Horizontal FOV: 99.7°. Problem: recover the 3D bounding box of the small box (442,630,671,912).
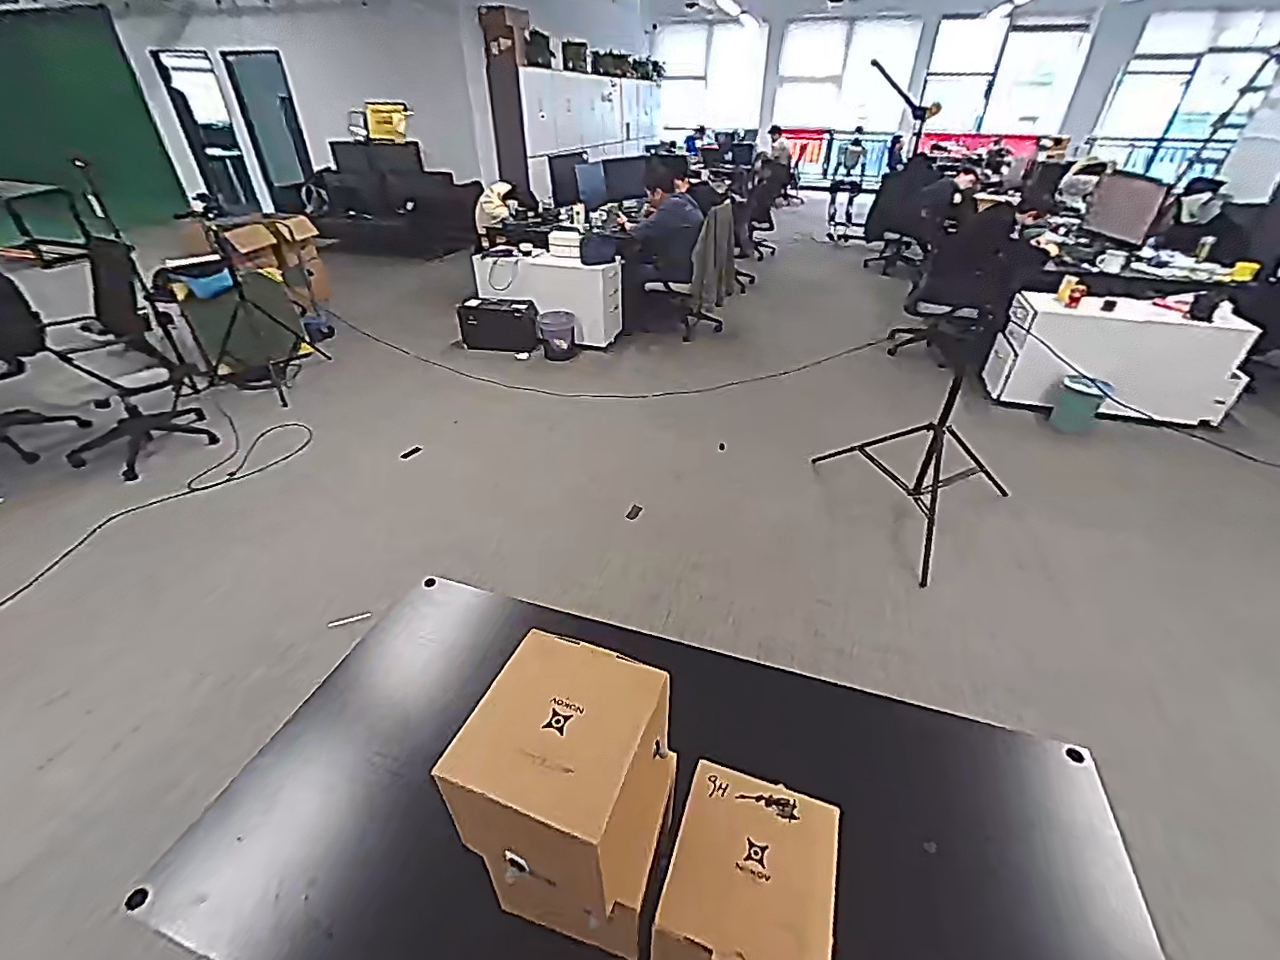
[{"bbox_3d":[-0.073,0.296,0.566,0.168,0.176,0.179,11,37,18],"label":"small box"}]
